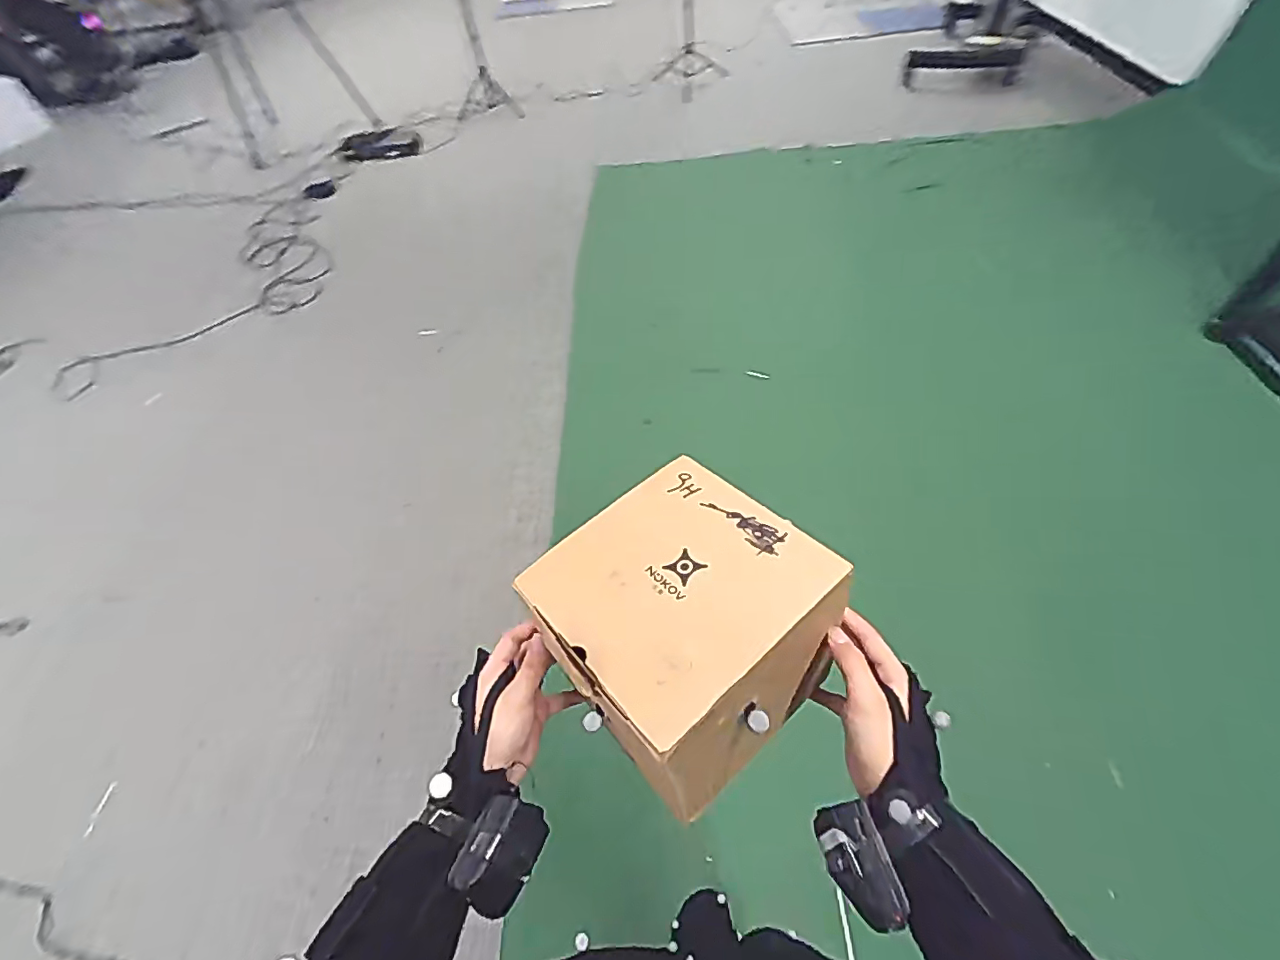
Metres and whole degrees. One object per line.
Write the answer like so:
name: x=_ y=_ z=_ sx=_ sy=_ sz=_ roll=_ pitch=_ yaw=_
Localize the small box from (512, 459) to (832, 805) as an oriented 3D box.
small box: x=0.032 y=0.122 z=0.441 sx=0.179 sy=0.176 sz=0.168 roll=-37 pitch=51 yaw=-22
